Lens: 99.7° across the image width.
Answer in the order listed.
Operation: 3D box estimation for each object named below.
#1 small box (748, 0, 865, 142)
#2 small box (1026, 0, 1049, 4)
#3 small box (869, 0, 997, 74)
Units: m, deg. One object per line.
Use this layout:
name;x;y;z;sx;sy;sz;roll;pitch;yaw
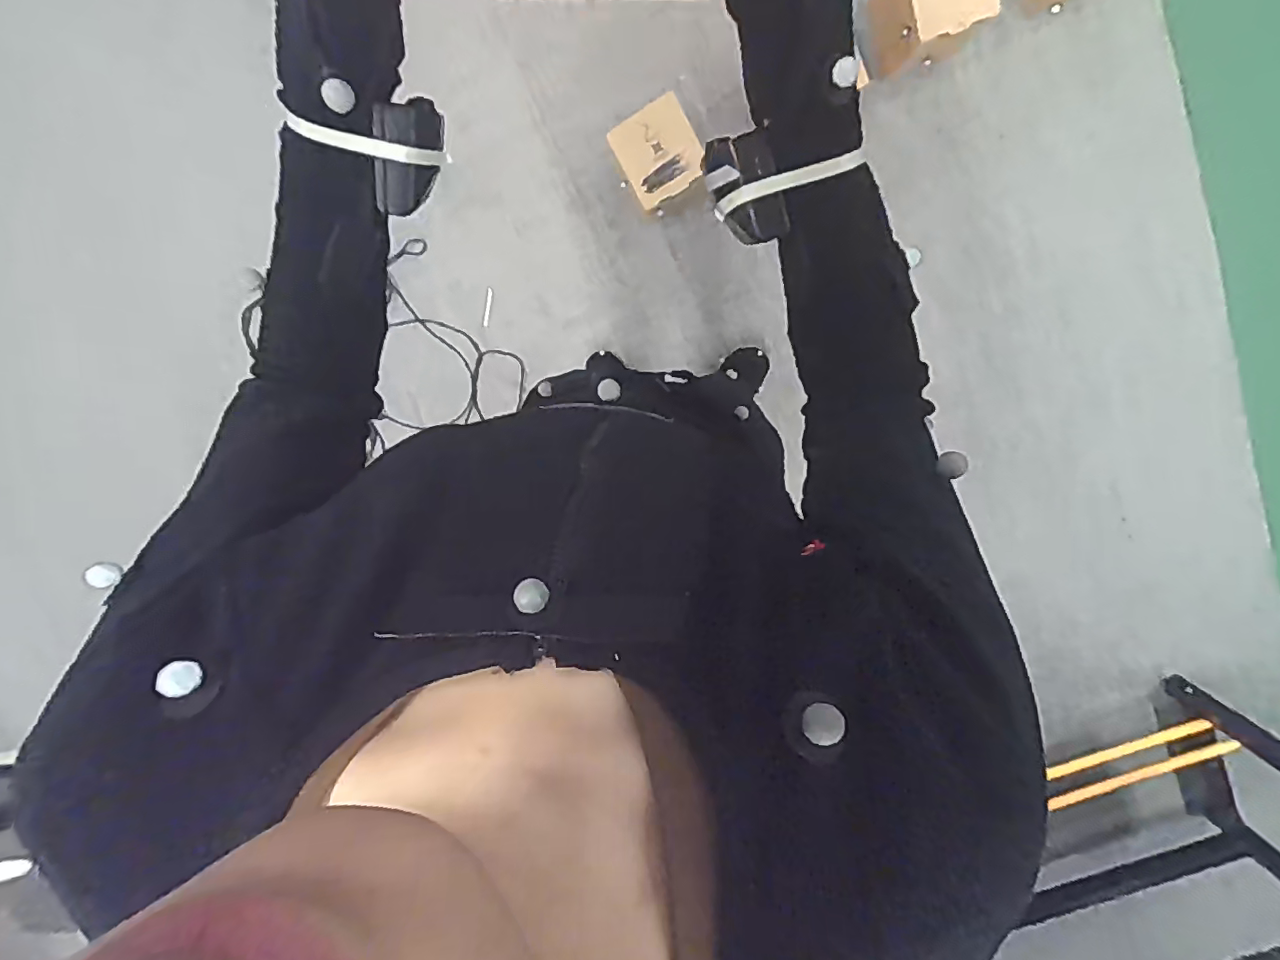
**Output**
small box;0.349;-0.875;1.166;0.168;0.176;0.179;-27;105;10
small box;0.895;-1.120;1.092;0.168;0.176;0.179;-23;103;7
small box;0.600;-1.005;1.128;0.168;0.176;0.179;-19;105;6
